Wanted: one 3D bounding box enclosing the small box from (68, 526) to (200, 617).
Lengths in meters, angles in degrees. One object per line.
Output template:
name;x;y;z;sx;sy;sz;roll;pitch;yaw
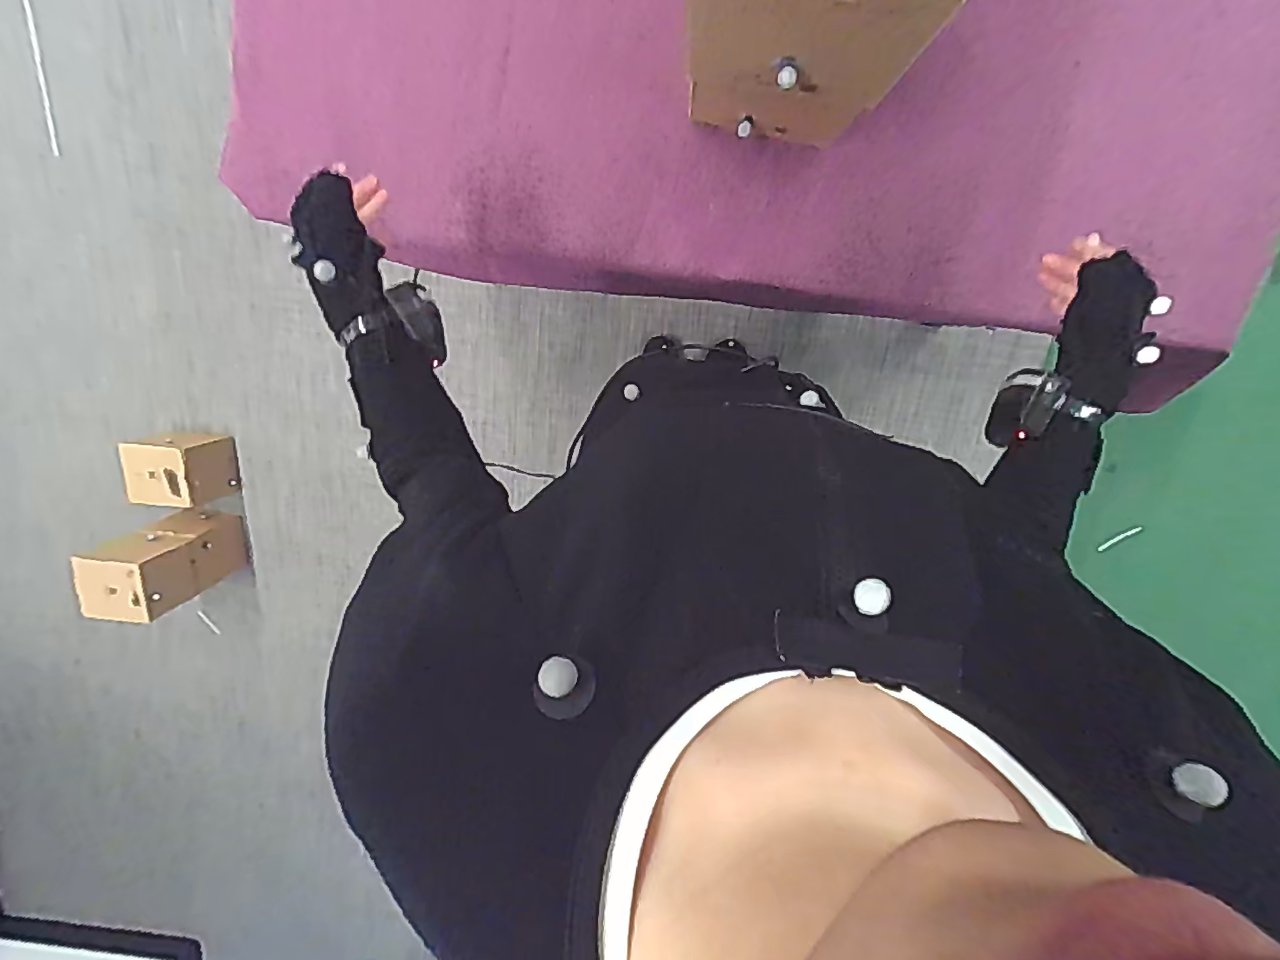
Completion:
small box;-1.293;0.229;1.394;0.179;0.176;0.168;7;106;2

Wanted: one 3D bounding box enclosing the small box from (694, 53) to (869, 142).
small box;0.148;-0.461;0.520;0.168;0.176;0.179;12;108;1

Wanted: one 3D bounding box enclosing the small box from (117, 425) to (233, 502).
small box;-1.256;-0.051;1.479;0.179;0.176;0.168;6;106;2

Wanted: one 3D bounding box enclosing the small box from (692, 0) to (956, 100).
small box;0.131;-0.401;0.367;0.168;0.176;0.179;11;107;2
